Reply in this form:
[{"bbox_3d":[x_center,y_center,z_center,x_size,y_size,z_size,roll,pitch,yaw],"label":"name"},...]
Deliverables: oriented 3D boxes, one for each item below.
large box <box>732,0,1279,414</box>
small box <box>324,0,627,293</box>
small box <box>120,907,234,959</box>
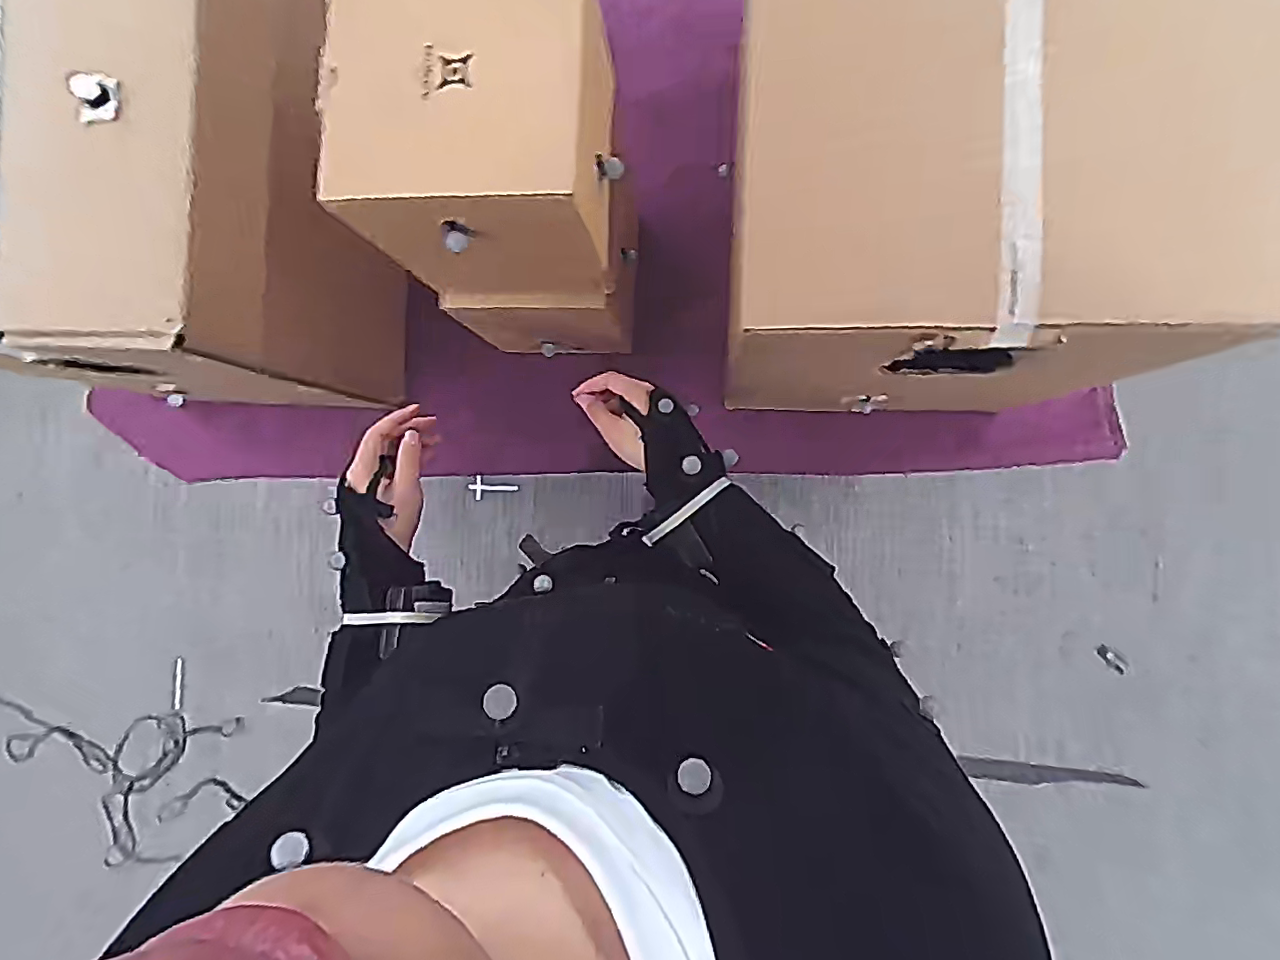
[{"bbox_3d":[0.241,-0.280,0.478,0.320,0.320,0.408,2,88,7],"label":"large box"},{"bbox_3d":[-0.108,-0.258,0.425,0.179,0.176,0.168,3,89,8],"label":"small box"},{"bbox_3d":[-1.226,1.287,1.441,0.179,0.176,0.168,1,89,7],"label":"small box"}]
